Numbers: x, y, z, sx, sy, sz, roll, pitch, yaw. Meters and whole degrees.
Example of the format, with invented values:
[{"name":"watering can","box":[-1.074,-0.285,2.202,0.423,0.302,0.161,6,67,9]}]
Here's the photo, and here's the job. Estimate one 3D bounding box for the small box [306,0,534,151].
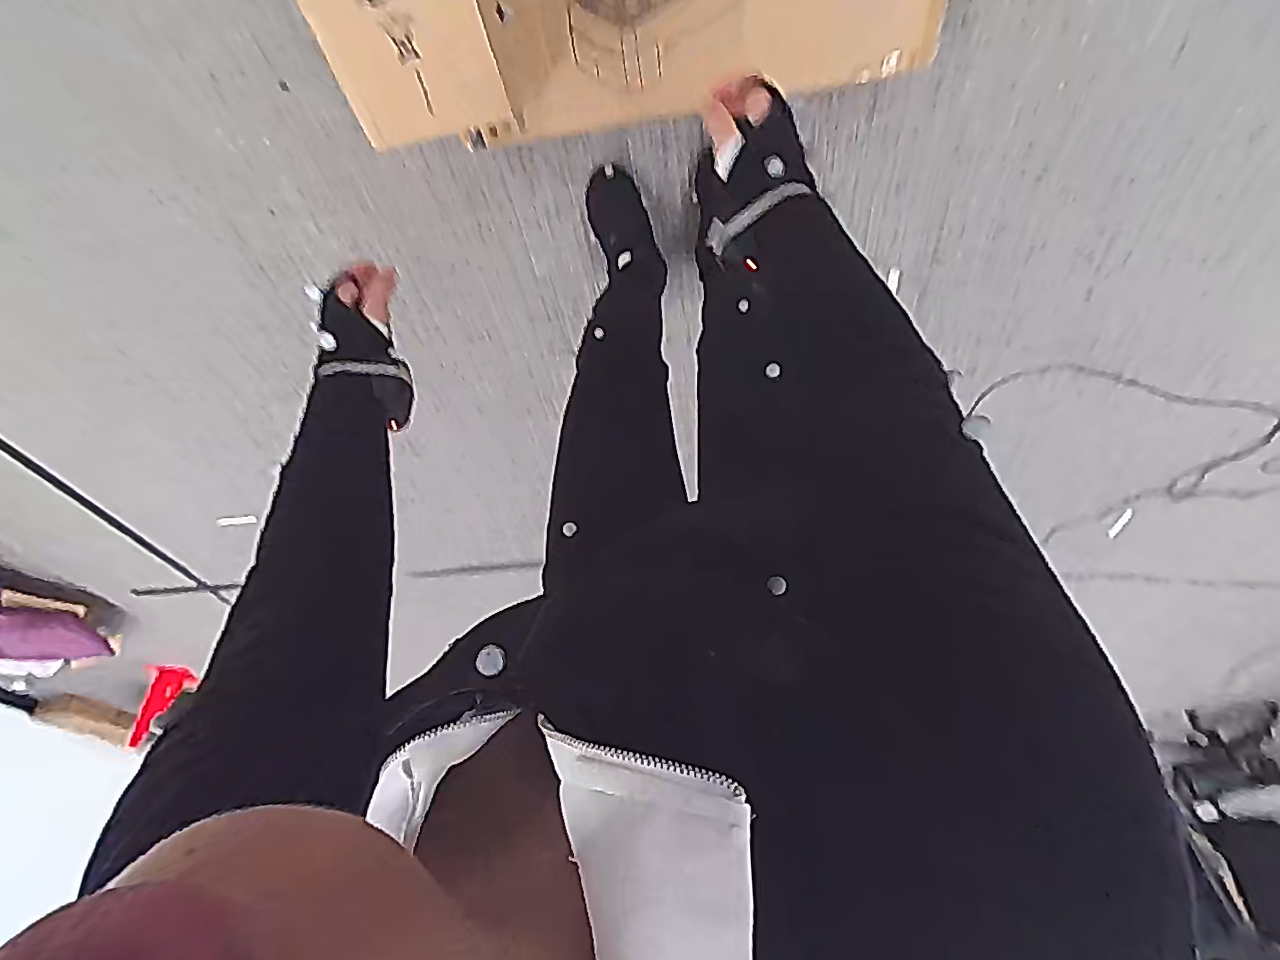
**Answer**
[{"name":"small box","box":[-0.226,-0.490,0.583,0.168,0.176,0.179,-7,137,8]}]
